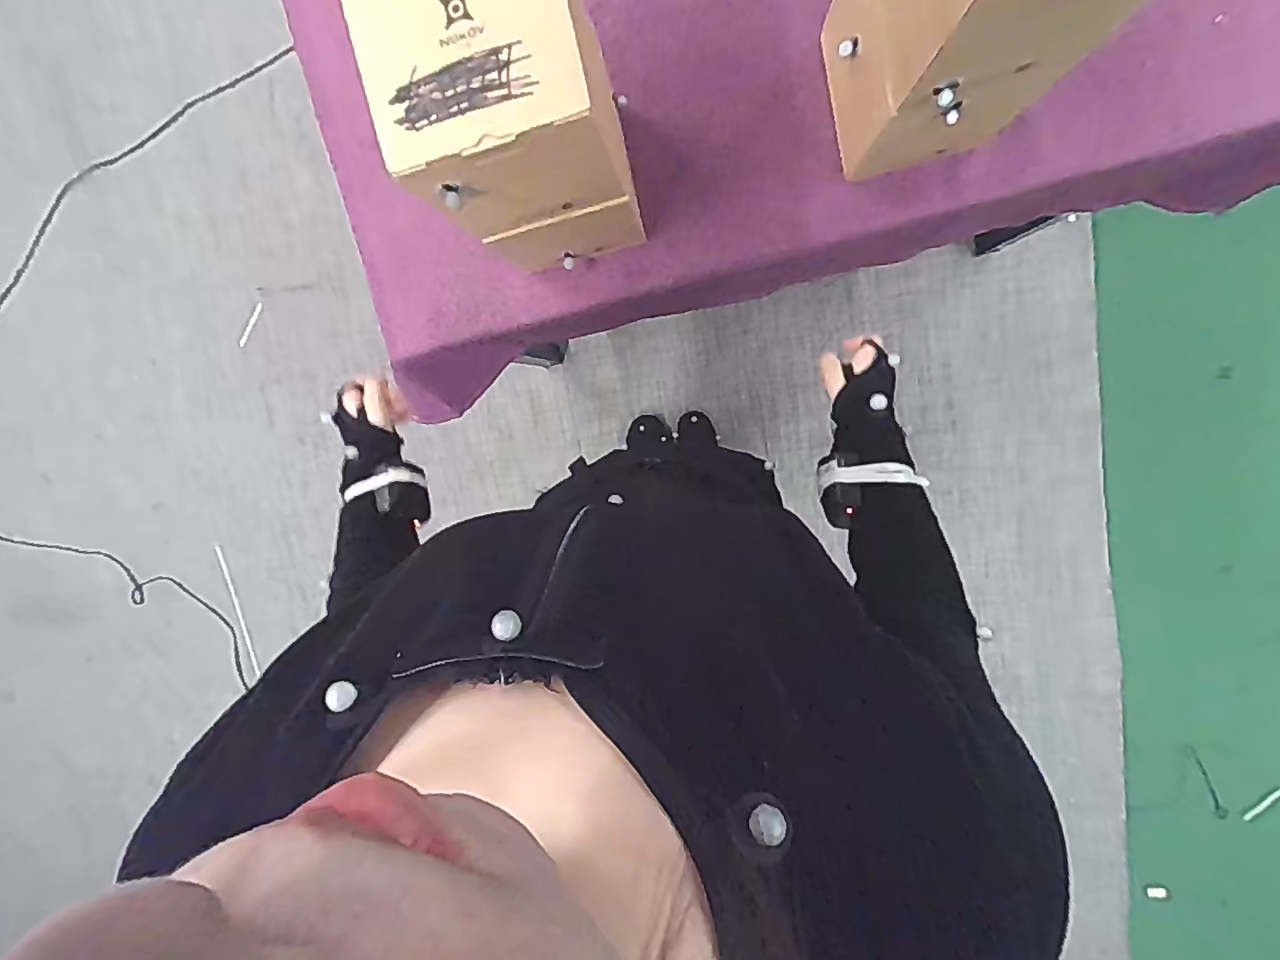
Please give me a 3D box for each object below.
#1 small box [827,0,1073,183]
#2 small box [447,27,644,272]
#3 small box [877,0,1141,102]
[{"bbox_3d":[0.310,-0.456,0.575,0.168,0.176,0.179,-12,97,9],"label":"small box"},{"bbox_3d":[-0.096,-0.367,0.638,0.168,0.176,0.179,-11,99,9],"label":"small box"},{"bbox_3d":[0.292,-0.430,0.414,0.168,0.176,0.179,-13,97,8],"label":"small box"}]
